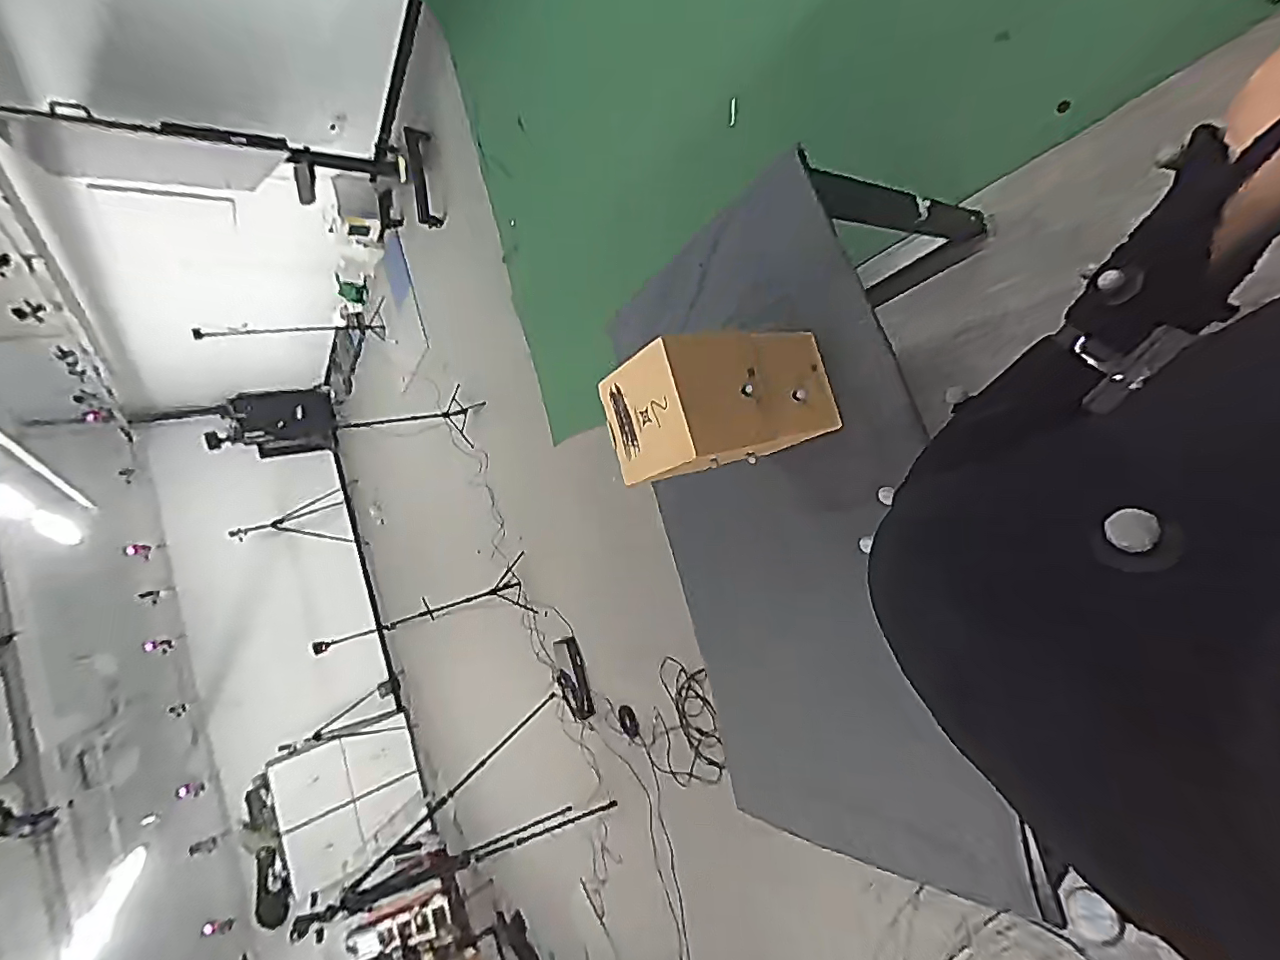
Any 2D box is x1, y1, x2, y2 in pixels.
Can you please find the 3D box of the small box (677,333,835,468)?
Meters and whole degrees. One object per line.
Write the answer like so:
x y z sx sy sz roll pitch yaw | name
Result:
0.196 -0.132 0.893 0.179 0.176 0.168 -23 83 54 | small box
